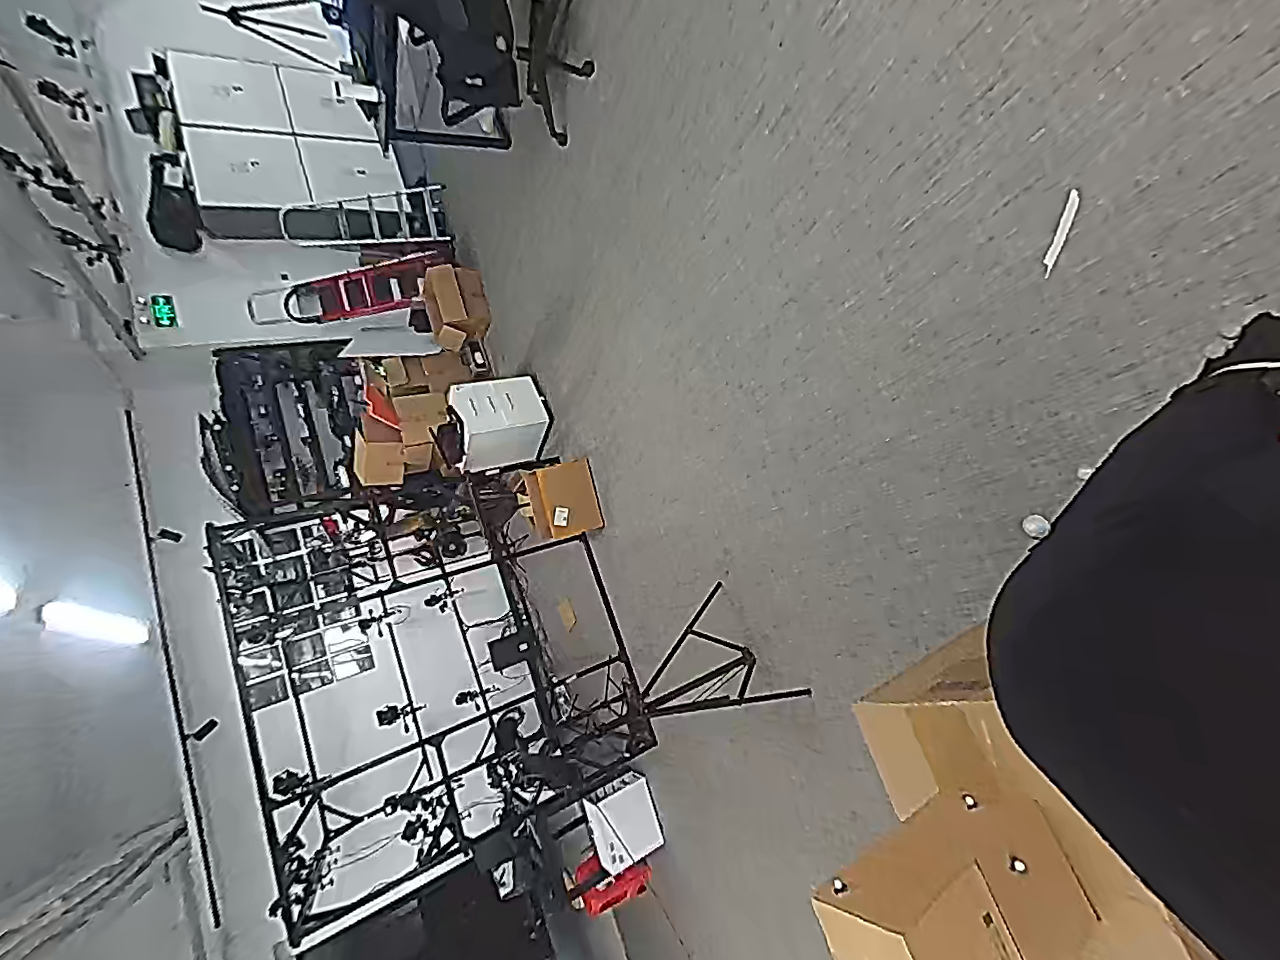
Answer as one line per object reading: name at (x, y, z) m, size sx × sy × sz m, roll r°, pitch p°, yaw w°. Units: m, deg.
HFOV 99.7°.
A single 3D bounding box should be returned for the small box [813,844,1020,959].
small box at (0.379, 0.631, 0.730) m, size 0.179 × 0.176 × 0.168 m, roll -46°, pitch 63°, yaw 58°
